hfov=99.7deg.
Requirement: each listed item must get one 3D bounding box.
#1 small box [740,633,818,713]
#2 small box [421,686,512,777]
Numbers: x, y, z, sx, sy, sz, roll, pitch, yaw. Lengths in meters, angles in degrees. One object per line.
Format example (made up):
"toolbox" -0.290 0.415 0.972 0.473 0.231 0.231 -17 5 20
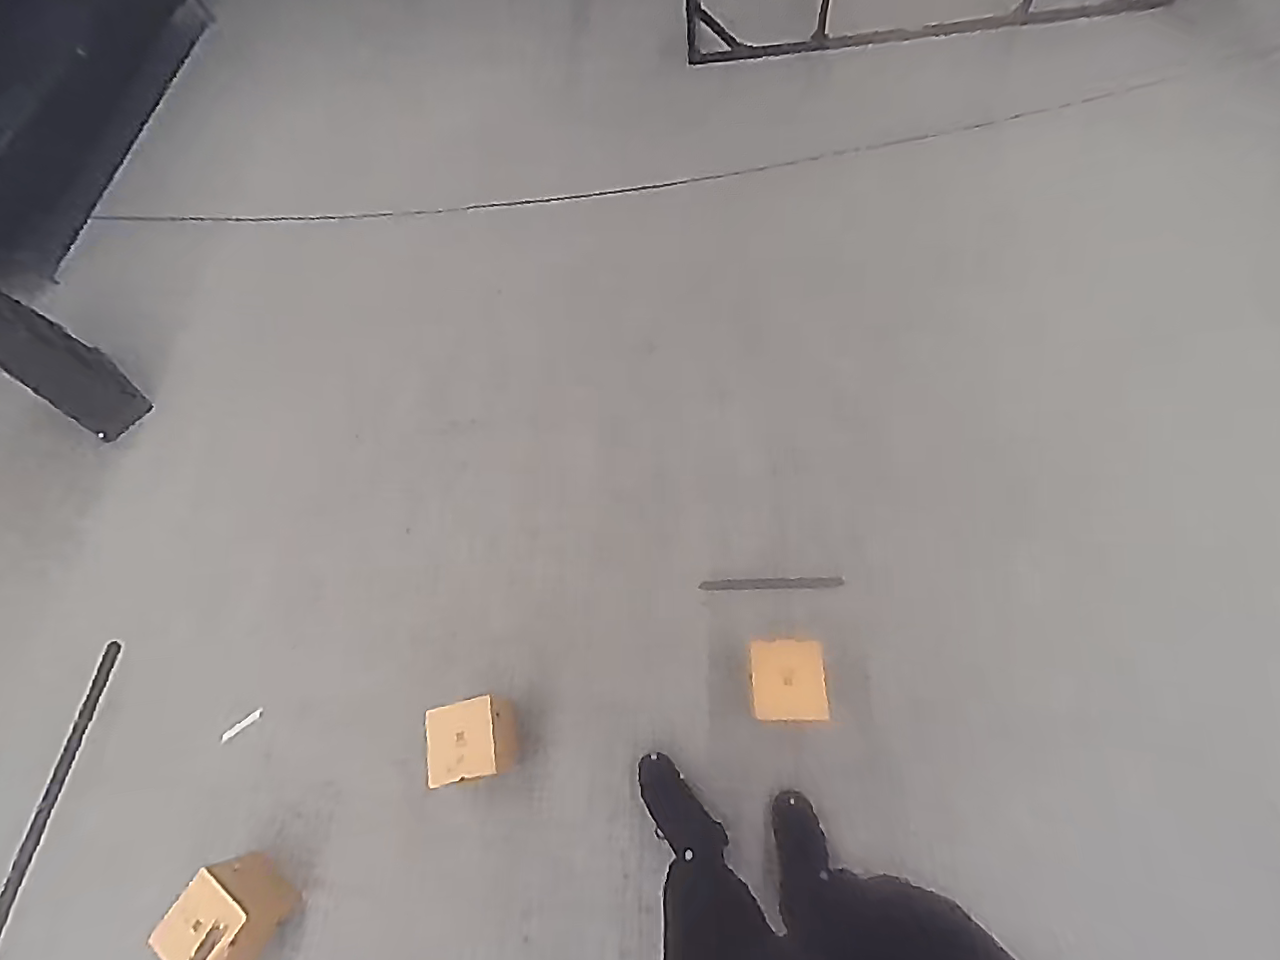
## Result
"small box" 0.335 0.478 1.331 0.168 0.176 0.179 -2 66 7
"small box" -0.435 0.632 1.364 0.168 0.176 0.179 -14 66 1
